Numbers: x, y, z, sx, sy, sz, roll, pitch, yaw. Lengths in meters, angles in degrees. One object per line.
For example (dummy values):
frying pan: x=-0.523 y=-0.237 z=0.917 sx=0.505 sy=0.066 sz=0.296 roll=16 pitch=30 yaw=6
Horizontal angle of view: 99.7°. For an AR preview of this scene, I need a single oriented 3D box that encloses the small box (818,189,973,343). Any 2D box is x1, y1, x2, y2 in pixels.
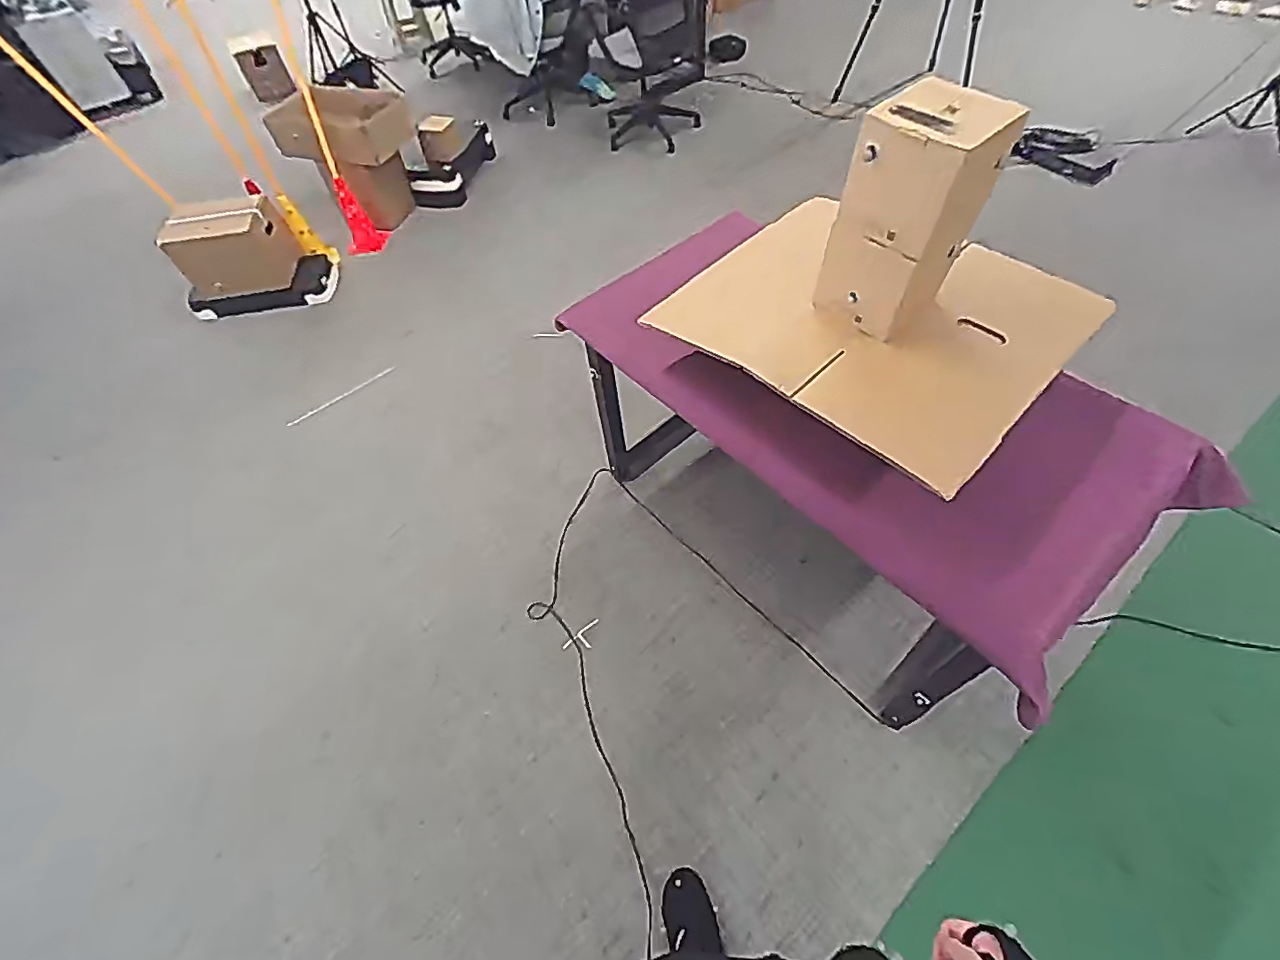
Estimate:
small box: x=0.451 y=-0.387 z=0.986 sx=0.179 sy=0.176 sz=0.168 roll=-38 pitch=62 yaw=-20
